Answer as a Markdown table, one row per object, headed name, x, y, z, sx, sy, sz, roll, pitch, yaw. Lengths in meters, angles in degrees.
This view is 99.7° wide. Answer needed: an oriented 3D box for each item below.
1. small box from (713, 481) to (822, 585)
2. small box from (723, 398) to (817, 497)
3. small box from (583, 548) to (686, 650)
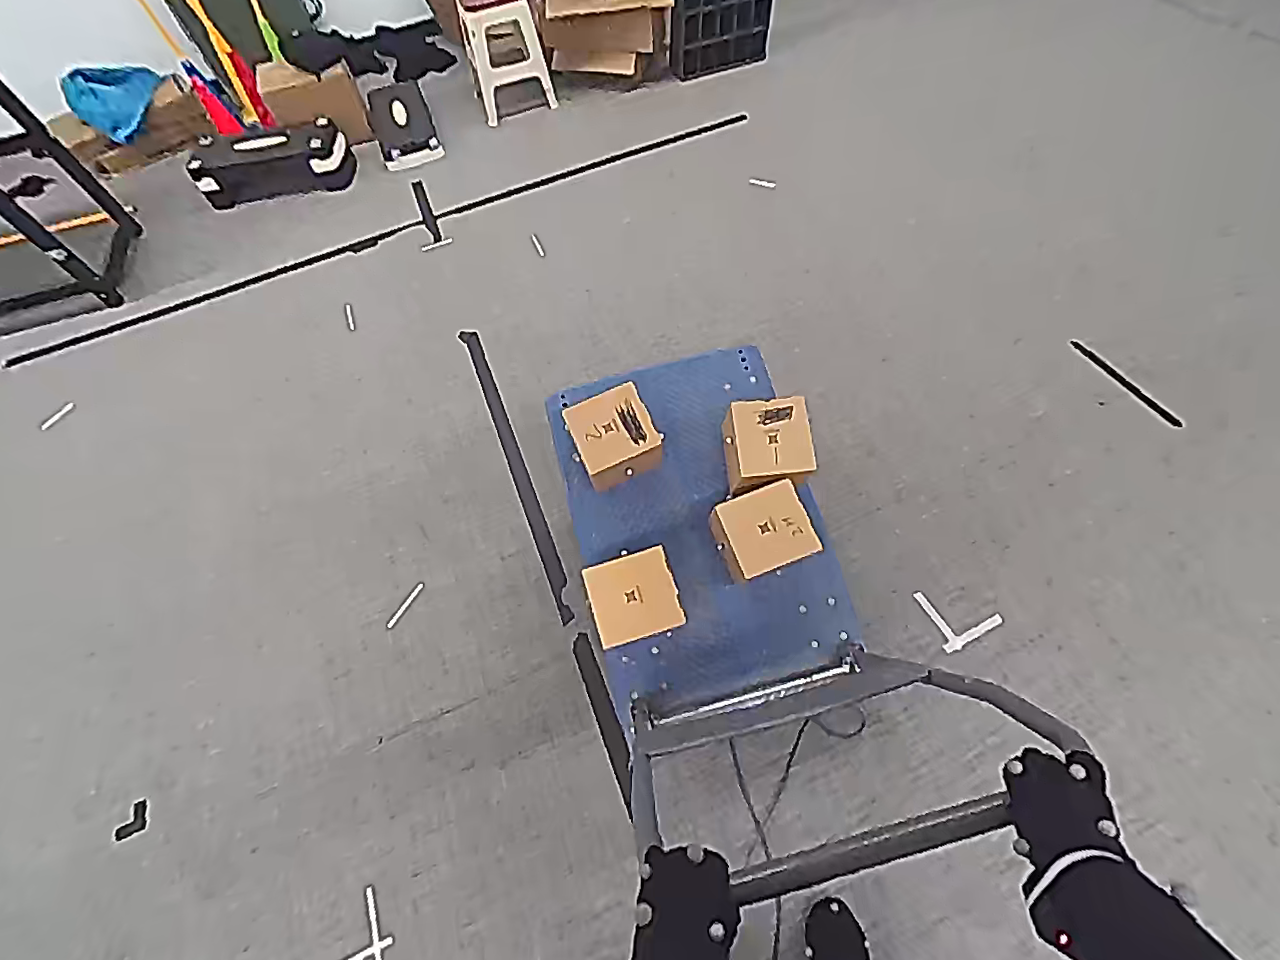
| name | x | y | z | sx | sy | sz | roll | pitch | yaw |
| --- | --- | --- | --- | --- | --- | --- | --- | --- | --- |
| small box | 0.268 | 0.124 | 1.196 | 0.179 | 0.176 | 0.168 | -21 | 75 | -4 |
| small box | 0.291 | -0.070 | 1.250 | 0.168 | 0.176 | 0.179 | -6 | 75 | 1 |
| small box | -0.011 | 0.262 | 1.168 | 0.179 | 0.176 | 0.168 | -17 | 75 | -4 |
